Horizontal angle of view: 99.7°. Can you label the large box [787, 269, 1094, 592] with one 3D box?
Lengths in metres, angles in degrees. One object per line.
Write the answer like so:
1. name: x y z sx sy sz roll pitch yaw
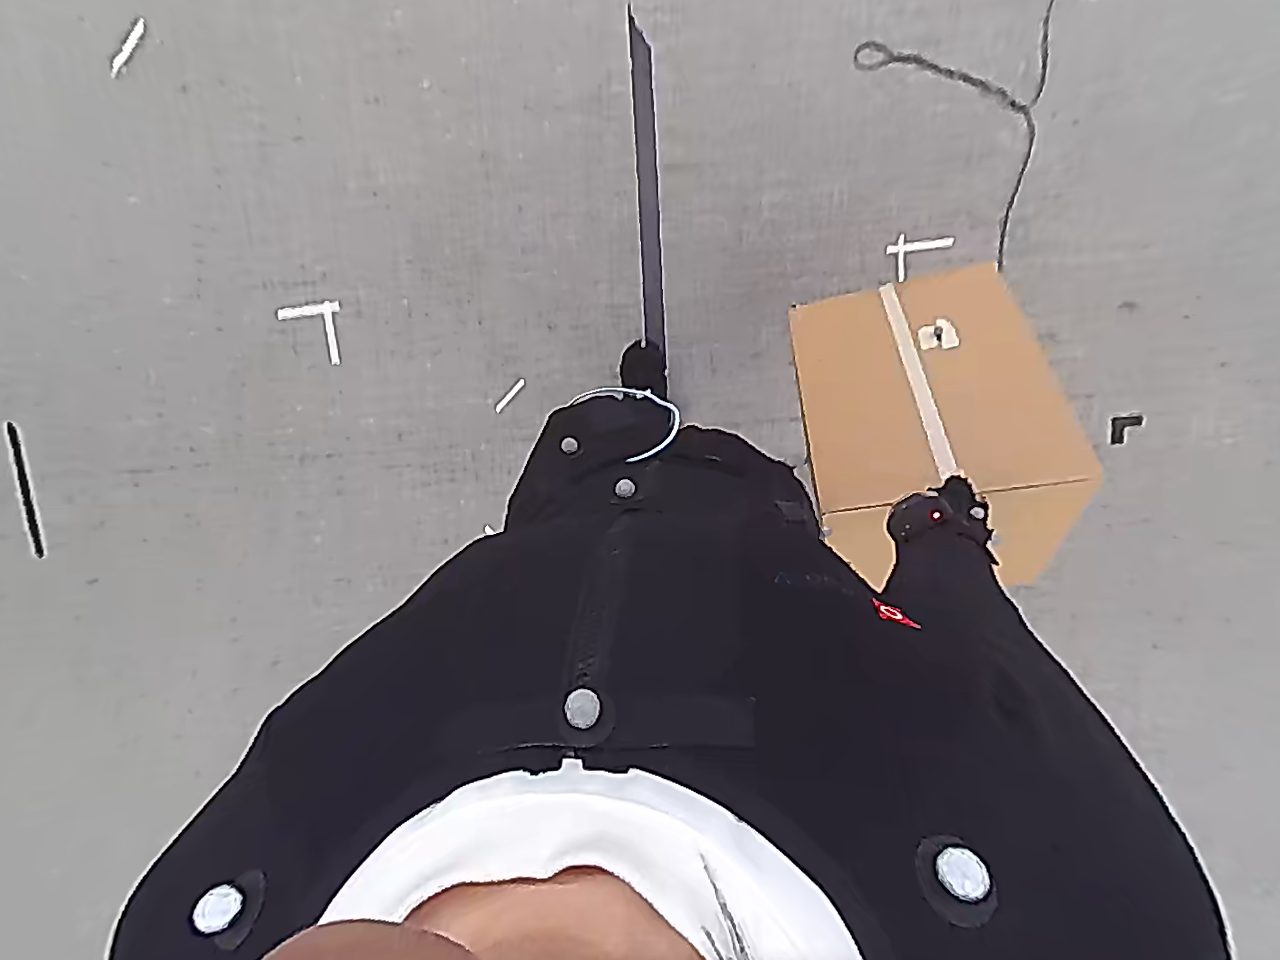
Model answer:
1. large box: 0.442 -0.069 0.901 0.320 0.320 0.408 -8 54 15
